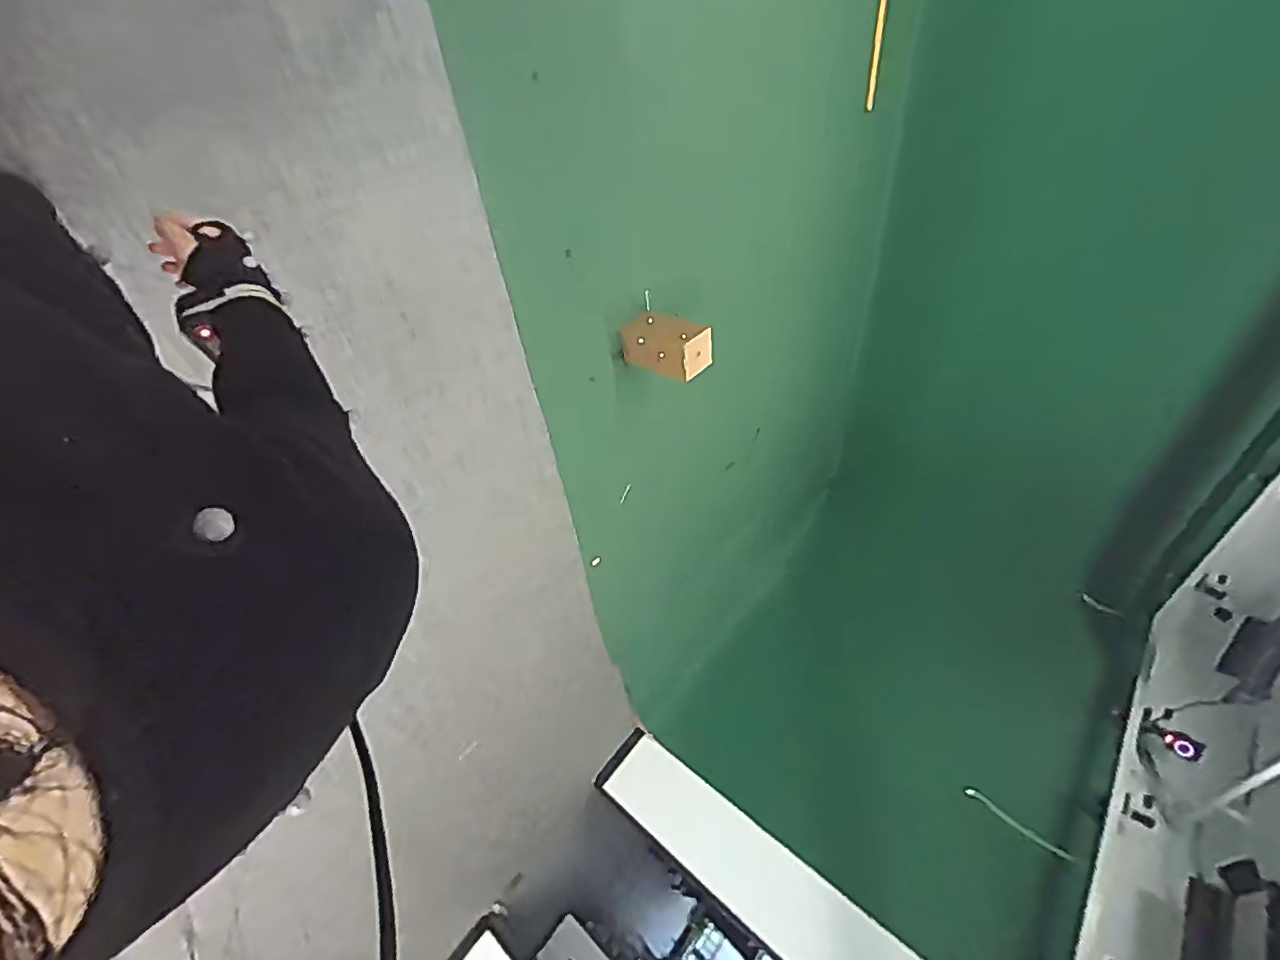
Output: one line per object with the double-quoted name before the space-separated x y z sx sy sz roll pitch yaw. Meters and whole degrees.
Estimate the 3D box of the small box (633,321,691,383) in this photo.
"small box" 0.091 -0.523 2.181 0.179 0.176 0.168 -42 142 -33
